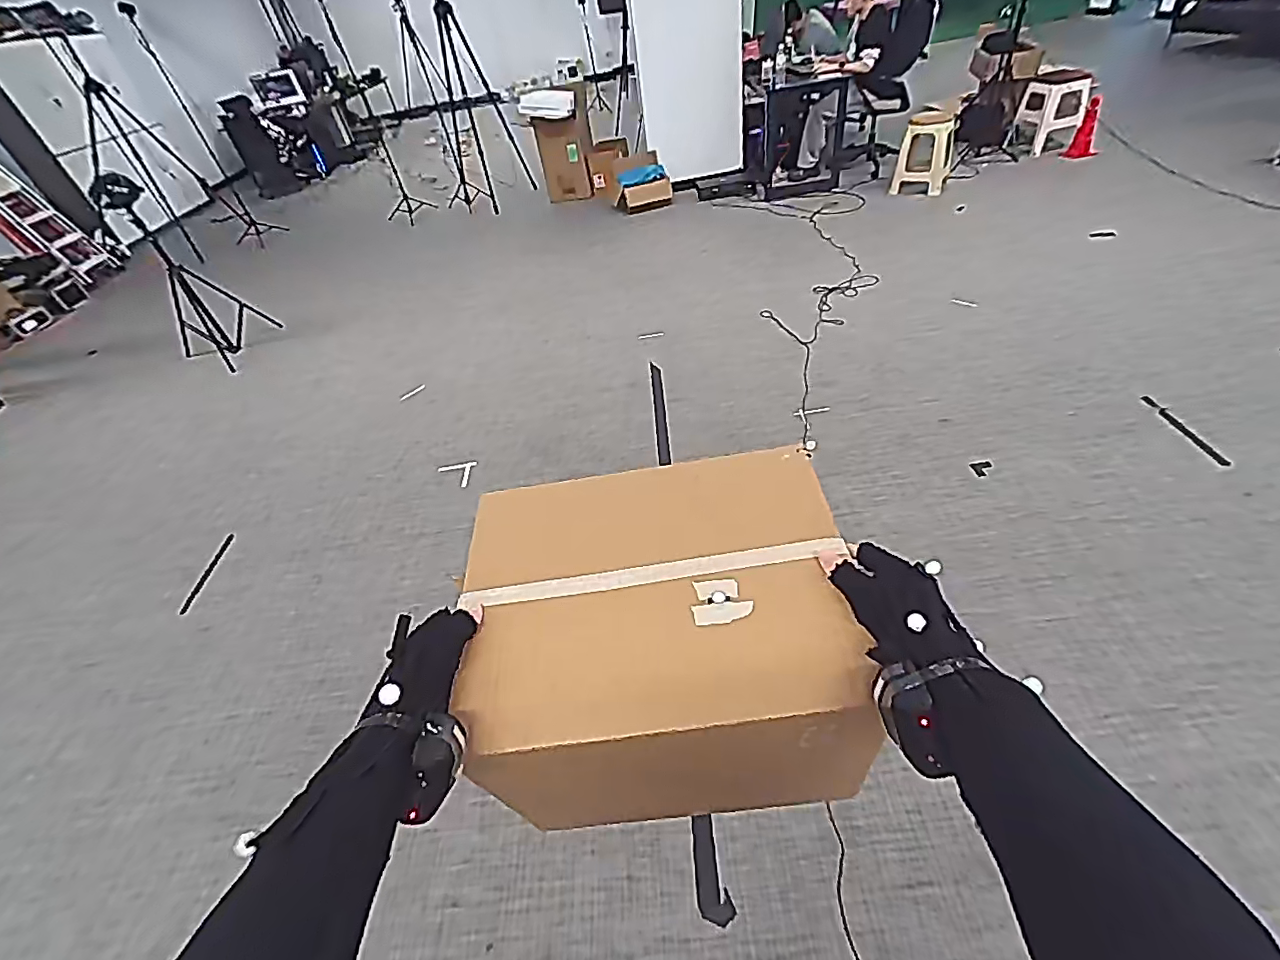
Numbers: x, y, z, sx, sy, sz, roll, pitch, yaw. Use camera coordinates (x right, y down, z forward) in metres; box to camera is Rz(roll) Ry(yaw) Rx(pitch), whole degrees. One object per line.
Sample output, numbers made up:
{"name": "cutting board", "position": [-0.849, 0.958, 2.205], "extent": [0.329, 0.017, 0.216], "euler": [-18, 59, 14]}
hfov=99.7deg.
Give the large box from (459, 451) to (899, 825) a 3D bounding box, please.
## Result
{"name": "large box", "position": [0.038, 0.204, 0.684], "extent": [0.408, 0.320, 0.320], "euler": [-8, 47, 3]}
